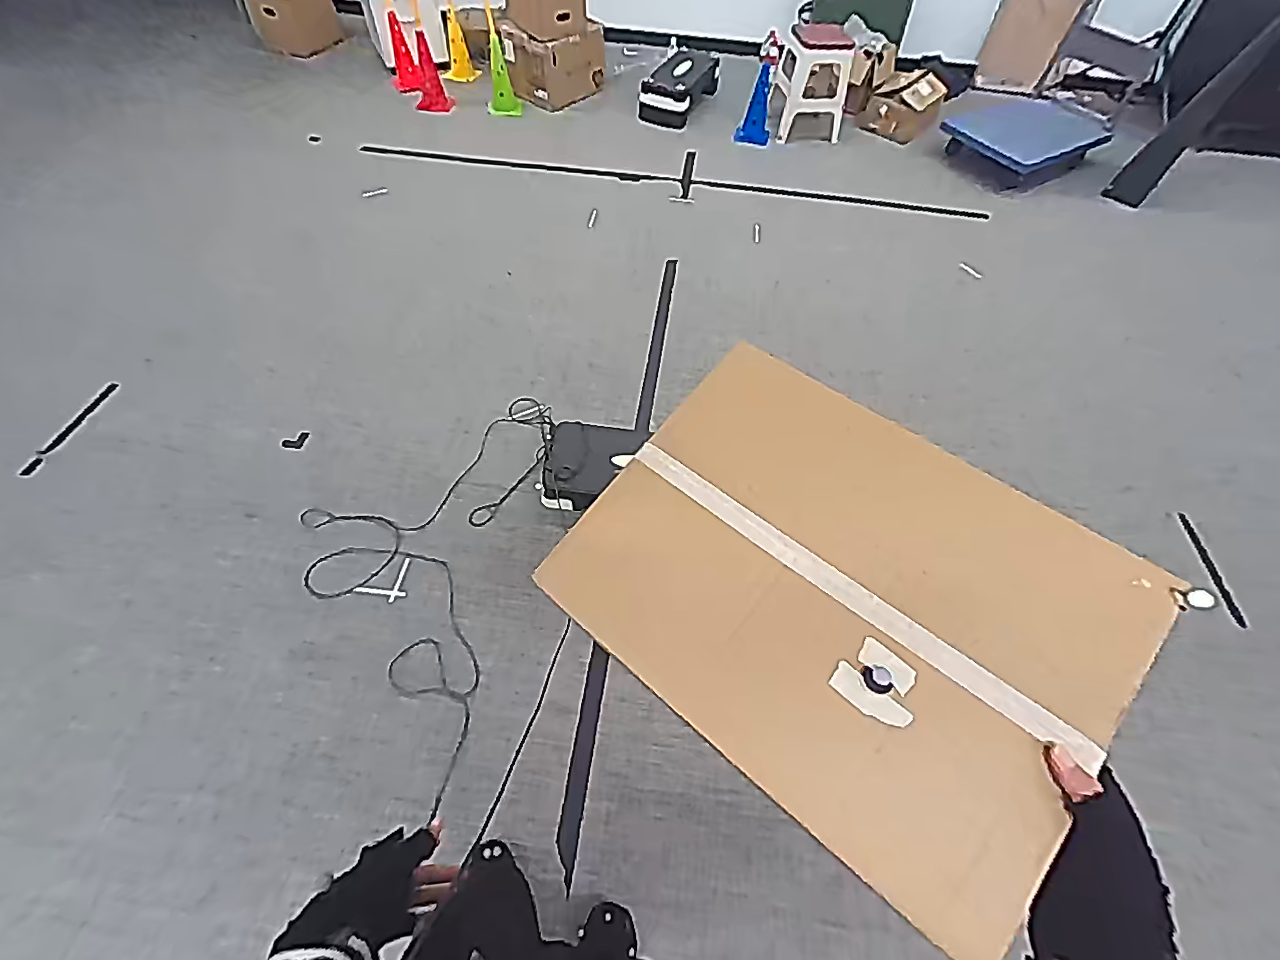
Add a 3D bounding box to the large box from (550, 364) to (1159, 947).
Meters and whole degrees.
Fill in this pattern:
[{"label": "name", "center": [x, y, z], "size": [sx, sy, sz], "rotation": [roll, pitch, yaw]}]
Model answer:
[{"label": "large box", "center": [0.180, 0.152, 0.589], "size": [0.408, 0.320, 0.320], "rotation": [36, 76, 23]}]
